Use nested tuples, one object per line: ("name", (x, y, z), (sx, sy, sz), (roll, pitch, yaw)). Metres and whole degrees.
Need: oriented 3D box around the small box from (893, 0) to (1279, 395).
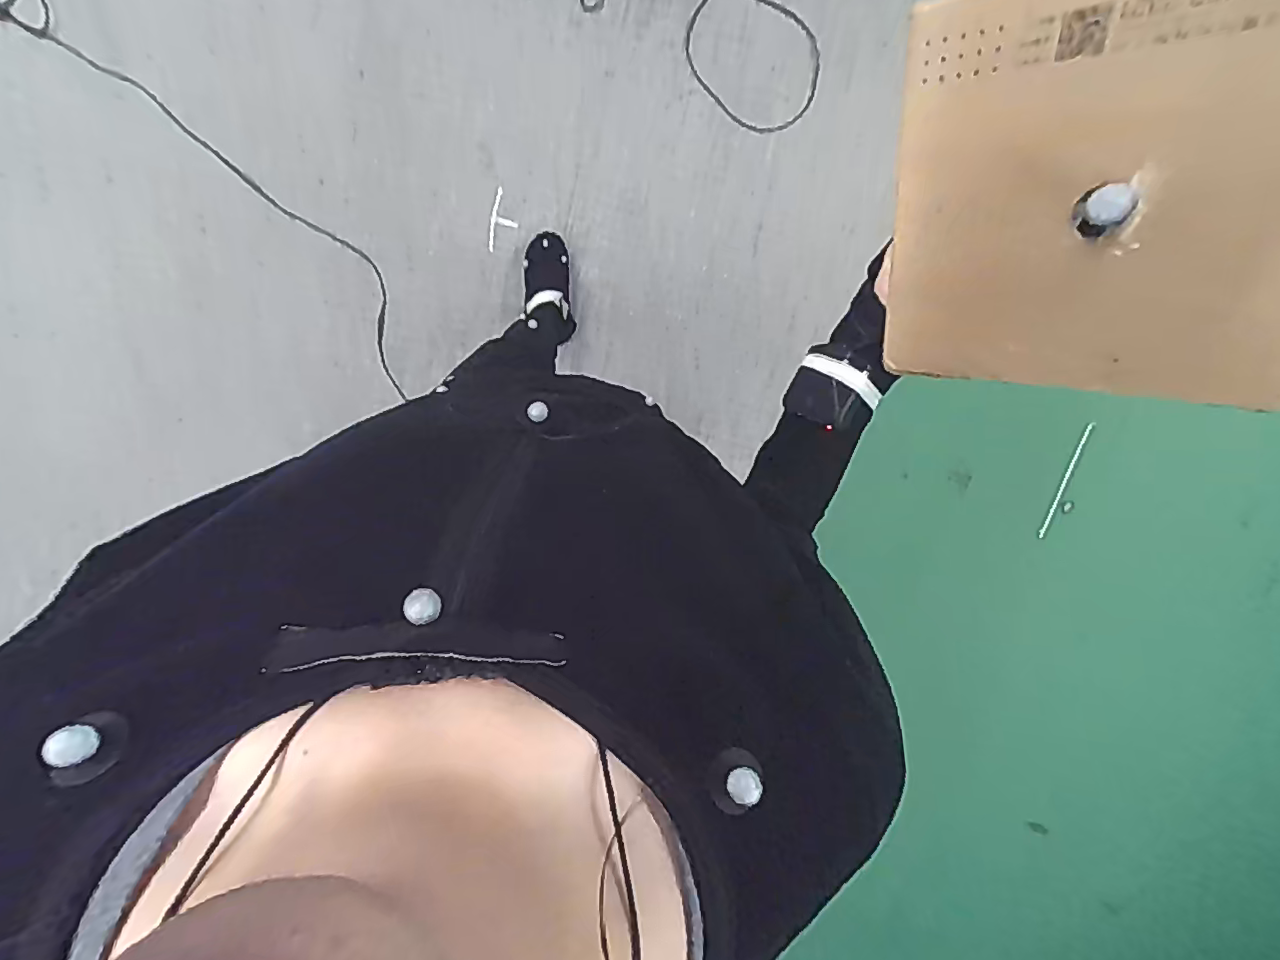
("small box", (0.239, -0.166, 0.268), (0.179, 0.168, 0.176), (-46, 138, -34))
